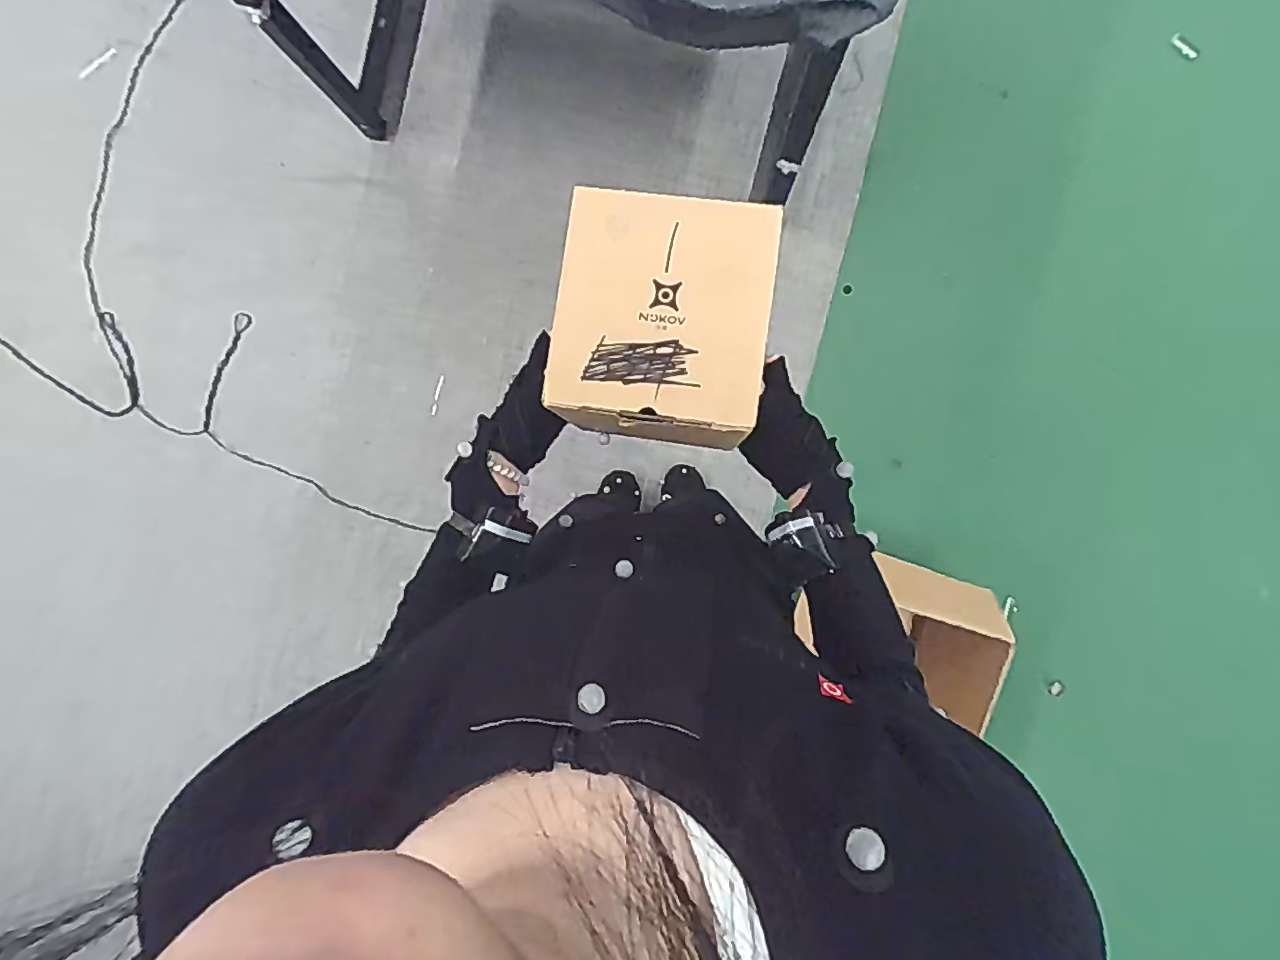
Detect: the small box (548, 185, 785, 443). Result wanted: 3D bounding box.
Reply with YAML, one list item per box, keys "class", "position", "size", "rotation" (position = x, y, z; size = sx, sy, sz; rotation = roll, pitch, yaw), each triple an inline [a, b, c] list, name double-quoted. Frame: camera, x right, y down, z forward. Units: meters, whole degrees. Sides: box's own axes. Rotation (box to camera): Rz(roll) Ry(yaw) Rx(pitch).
- class: "small box"
  position: [0.025, -0.133, 0.496]
  size: [0.168, 0.176, 0.179]
  rotation: [8, 88, 3]
